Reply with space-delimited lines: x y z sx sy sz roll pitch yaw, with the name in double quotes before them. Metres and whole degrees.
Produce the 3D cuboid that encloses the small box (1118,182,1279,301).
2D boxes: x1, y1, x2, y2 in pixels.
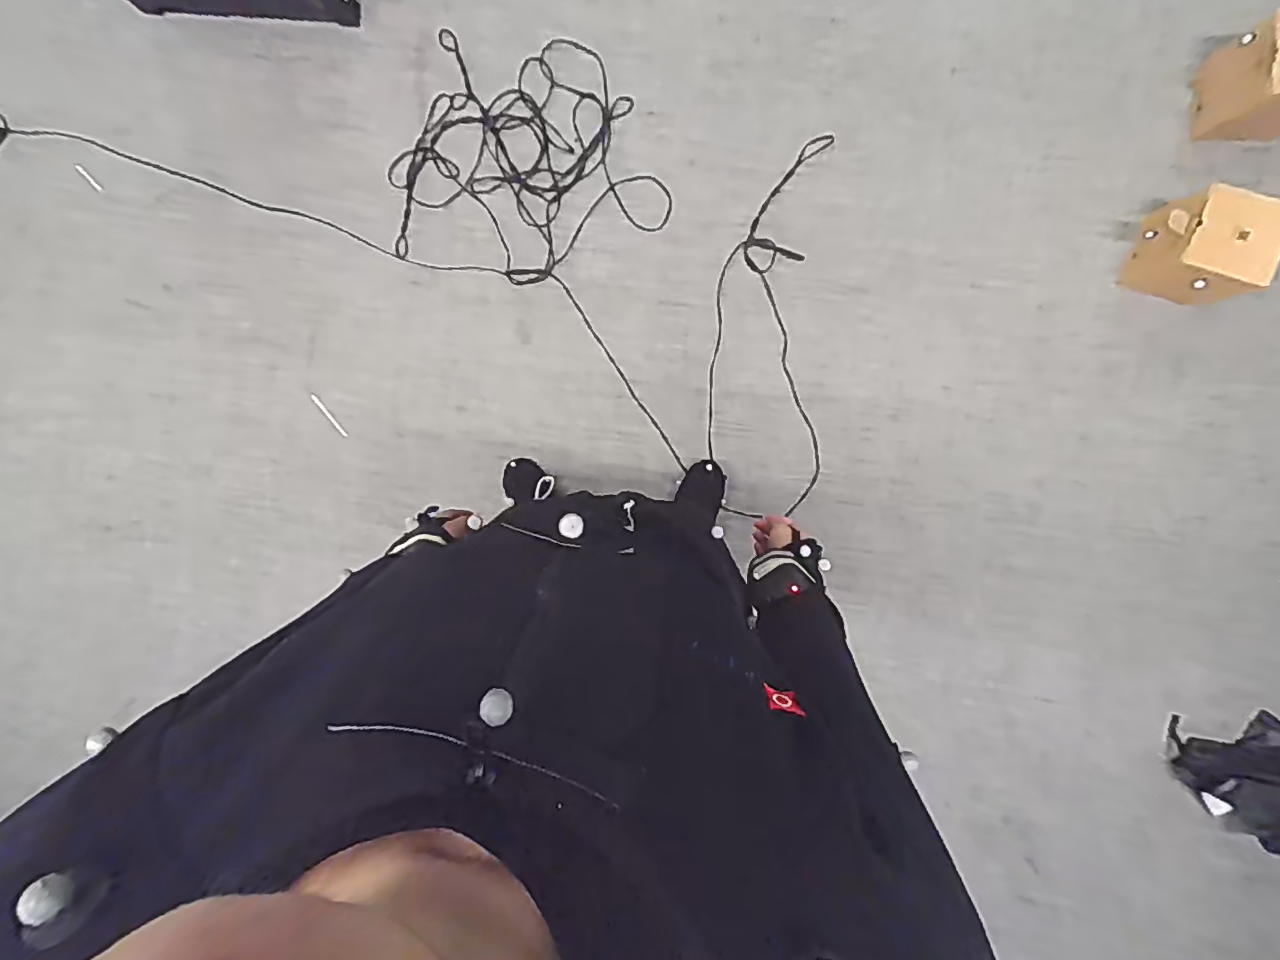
"small box" 1.196 -0.495 1.152 0.179 0.176 0.168 18 96 3
